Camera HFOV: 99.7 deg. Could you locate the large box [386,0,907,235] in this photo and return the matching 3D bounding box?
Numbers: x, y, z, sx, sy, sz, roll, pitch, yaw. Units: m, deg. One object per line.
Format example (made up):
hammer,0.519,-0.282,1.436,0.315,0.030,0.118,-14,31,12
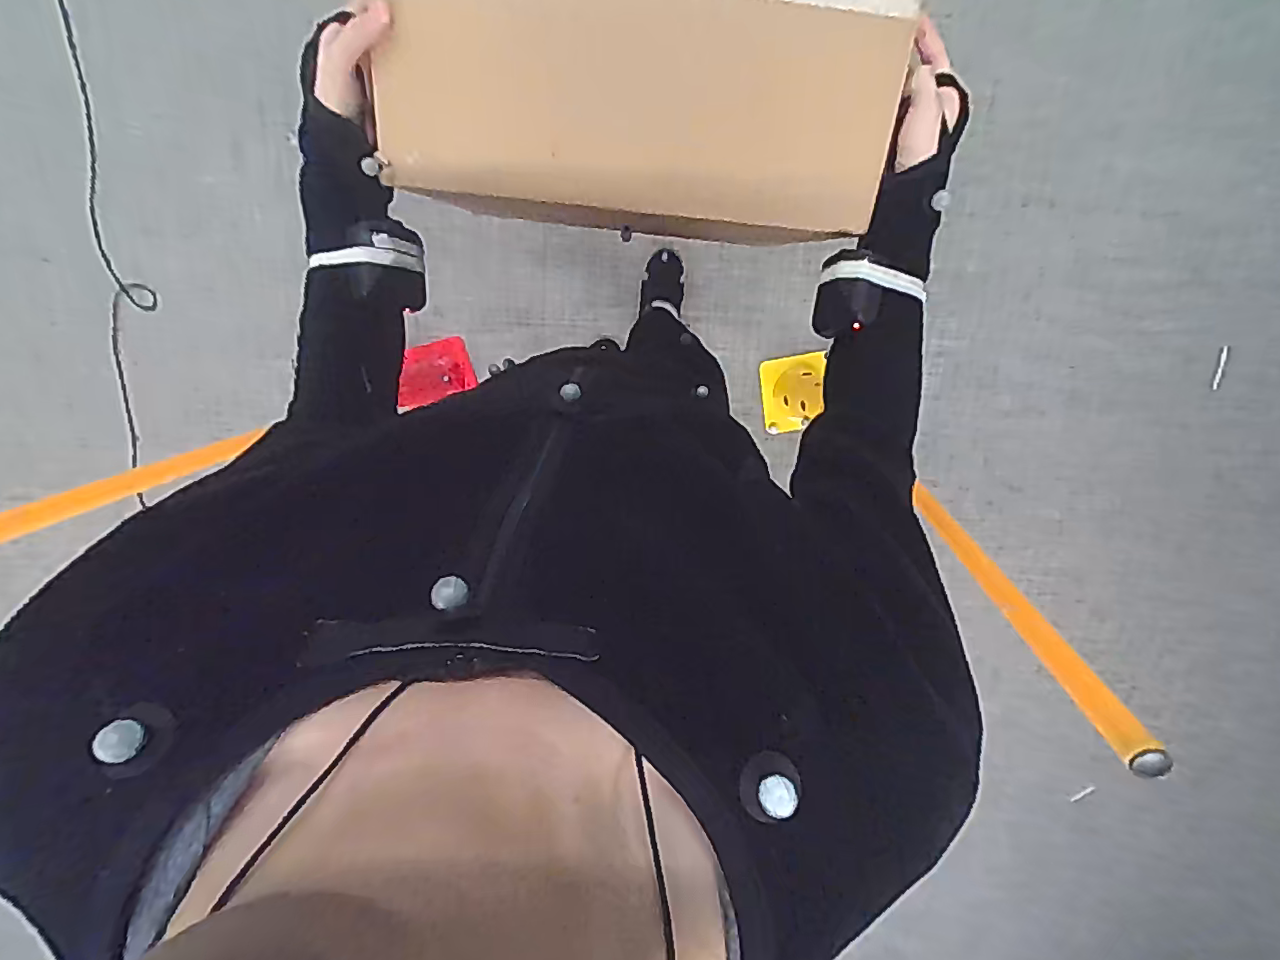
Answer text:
large box,0.005,-0.432,0.544,0.408,0.320,0.320,4,111,-4
